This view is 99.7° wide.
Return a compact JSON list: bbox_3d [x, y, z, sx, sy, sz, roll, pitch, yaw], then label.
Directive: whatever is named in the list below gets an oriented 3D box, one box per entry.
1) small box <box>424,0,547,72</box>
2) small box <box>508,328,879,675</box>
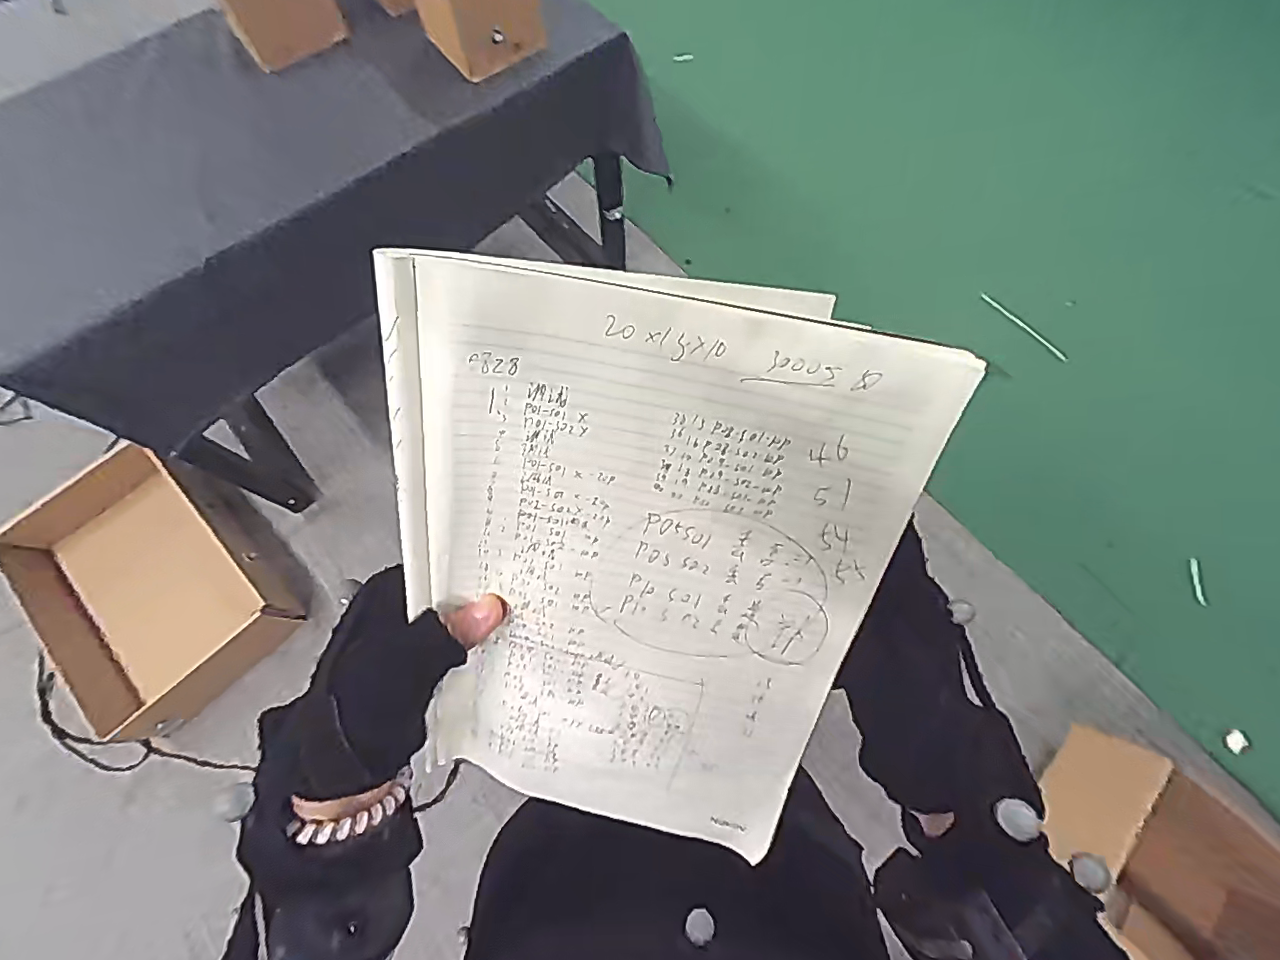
[{"bbox_3d":[-0.287,-0.876,0.956,0.168,0.176,0.179,-35,73,-12],"label":"small box"},{"bbox_3d":[0.030,0.001,0.343,0.179,0.176,0.168,-5,101,0],"label":"small box"}]
